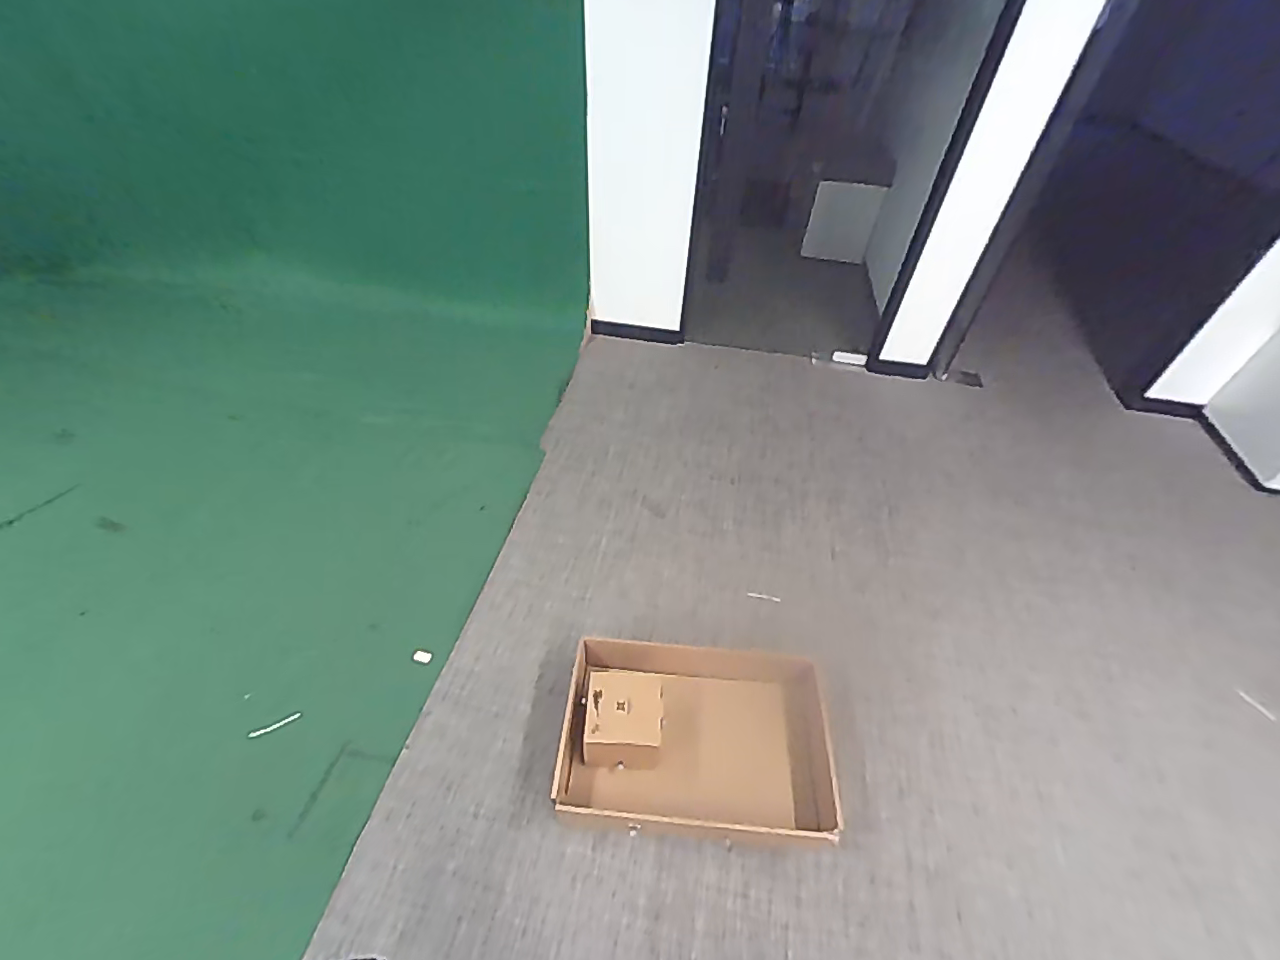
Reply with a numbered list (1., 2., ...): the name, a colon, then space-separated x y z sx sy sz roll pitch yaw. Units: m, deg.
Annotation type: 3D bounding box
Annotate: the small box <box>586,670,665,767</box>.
1. small box: -0.036 0.582 1.314 0.179 0.176 0.168 4 45 -1
